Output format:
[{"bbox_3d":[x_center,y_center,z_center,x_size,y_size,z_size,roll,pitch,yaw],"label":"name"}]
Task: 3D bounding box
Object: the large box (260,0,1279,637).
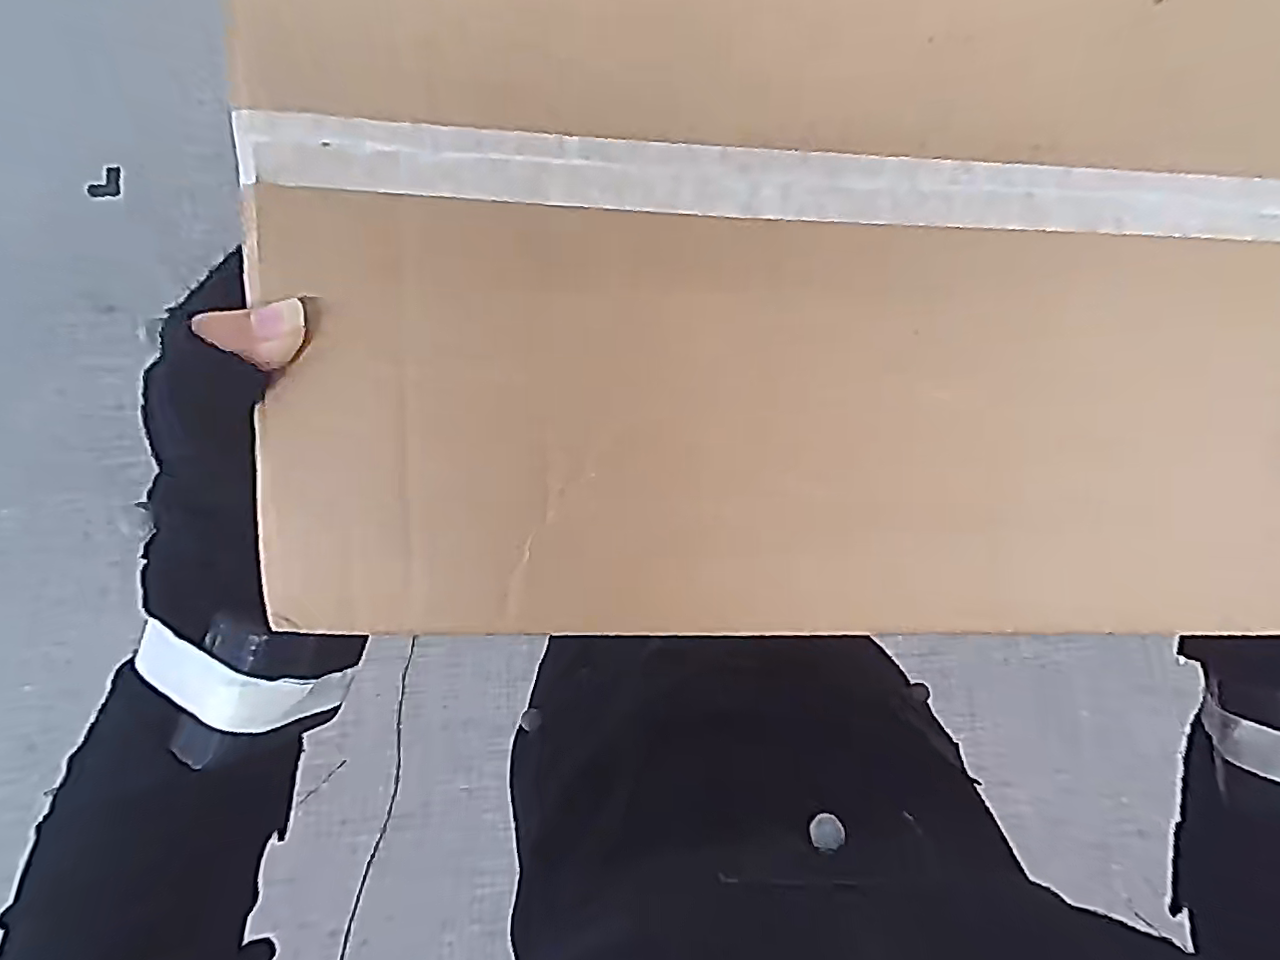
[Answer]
[{"bbox_3d":[0.065,-0.112,0.342,0.408,0.320,0.320,1,96,-4],"label":"large box"}]
